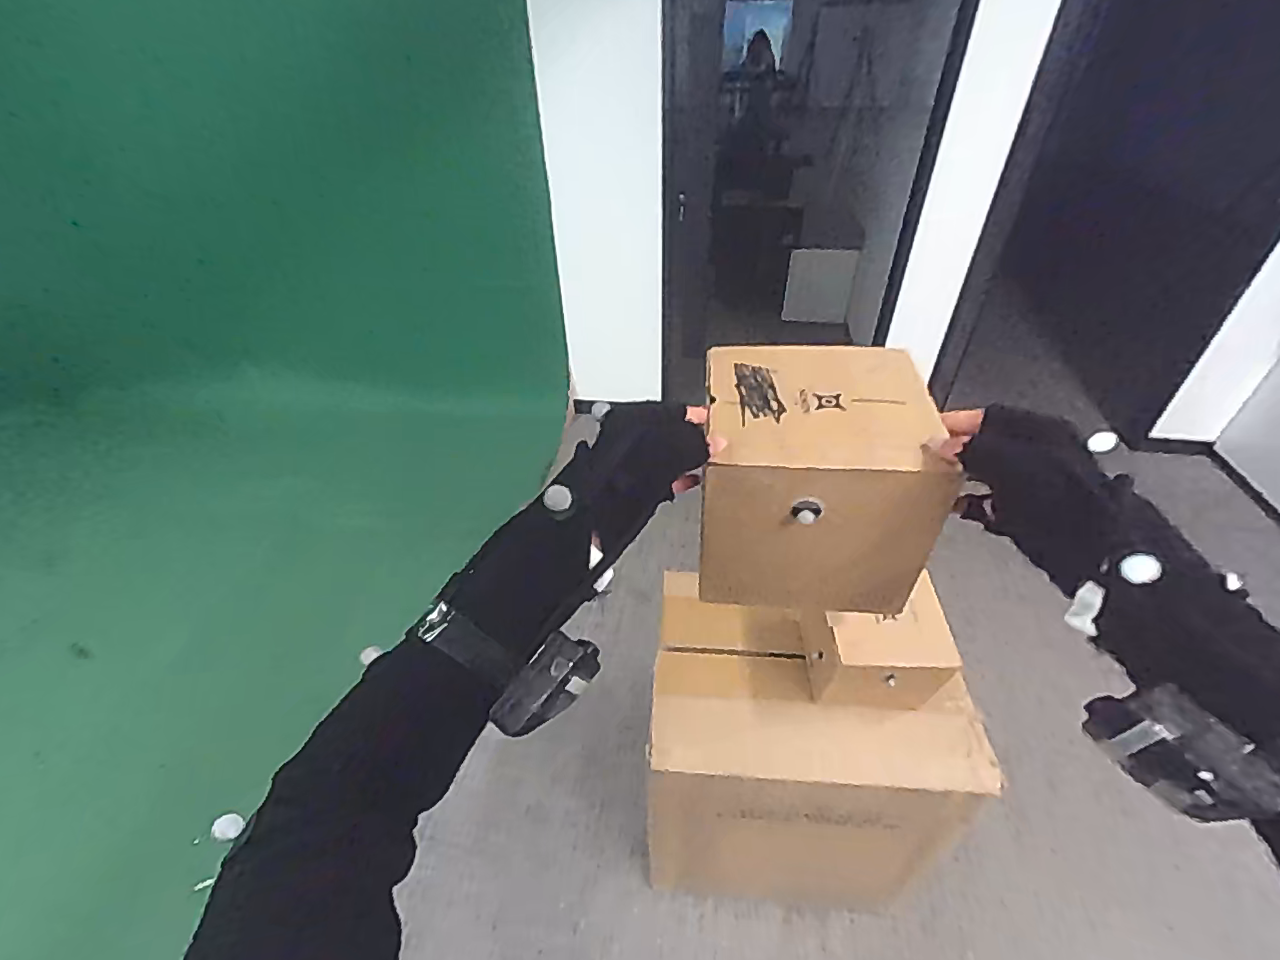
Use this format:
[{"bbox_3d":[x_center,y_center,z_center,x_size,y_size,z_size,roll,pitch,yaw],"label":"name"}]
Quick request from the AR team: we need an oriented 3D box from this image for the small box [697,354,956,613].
[{"bbox_3d":[0.142,0.002,0.485,0.179,0.176,0.168,3,42,6],"label":"small box"}]

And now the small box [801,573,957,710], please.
[{"bbox_3d":[0.373,0.266,0.888,0.179,0.176,0.168,1,48,1],"label":"small box"}]
